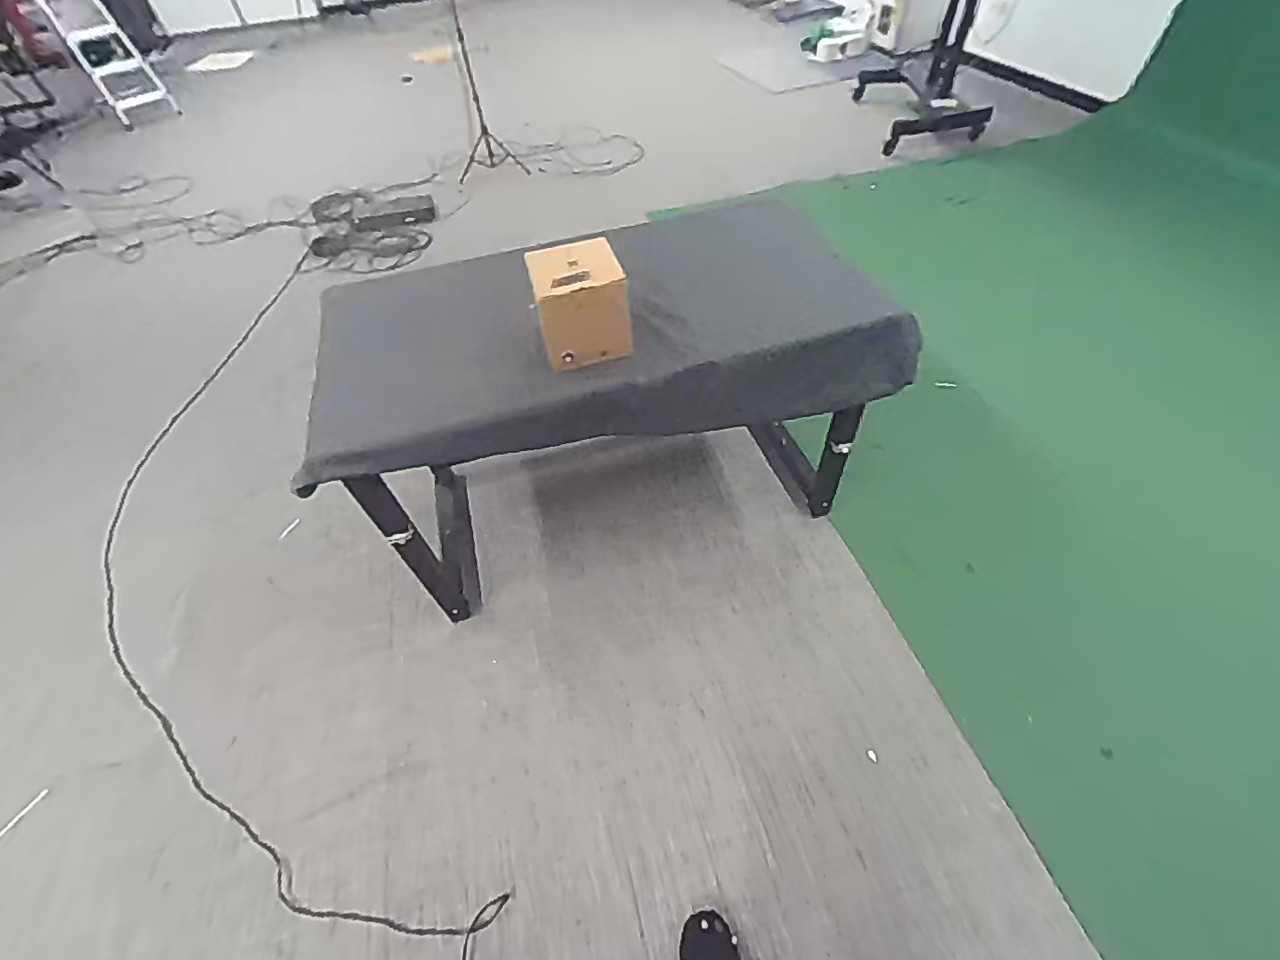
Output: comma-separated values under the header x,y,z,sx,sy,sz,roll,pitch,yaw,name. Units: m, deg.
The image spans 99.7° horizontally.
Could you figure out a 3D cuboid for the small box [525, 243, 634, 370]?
x,y,z,sx,sy,sz,roll,pitch,yaw,name
-0.118,-0.340,1.085,0.168,0.176,0.179,-17,52,-8,small box
